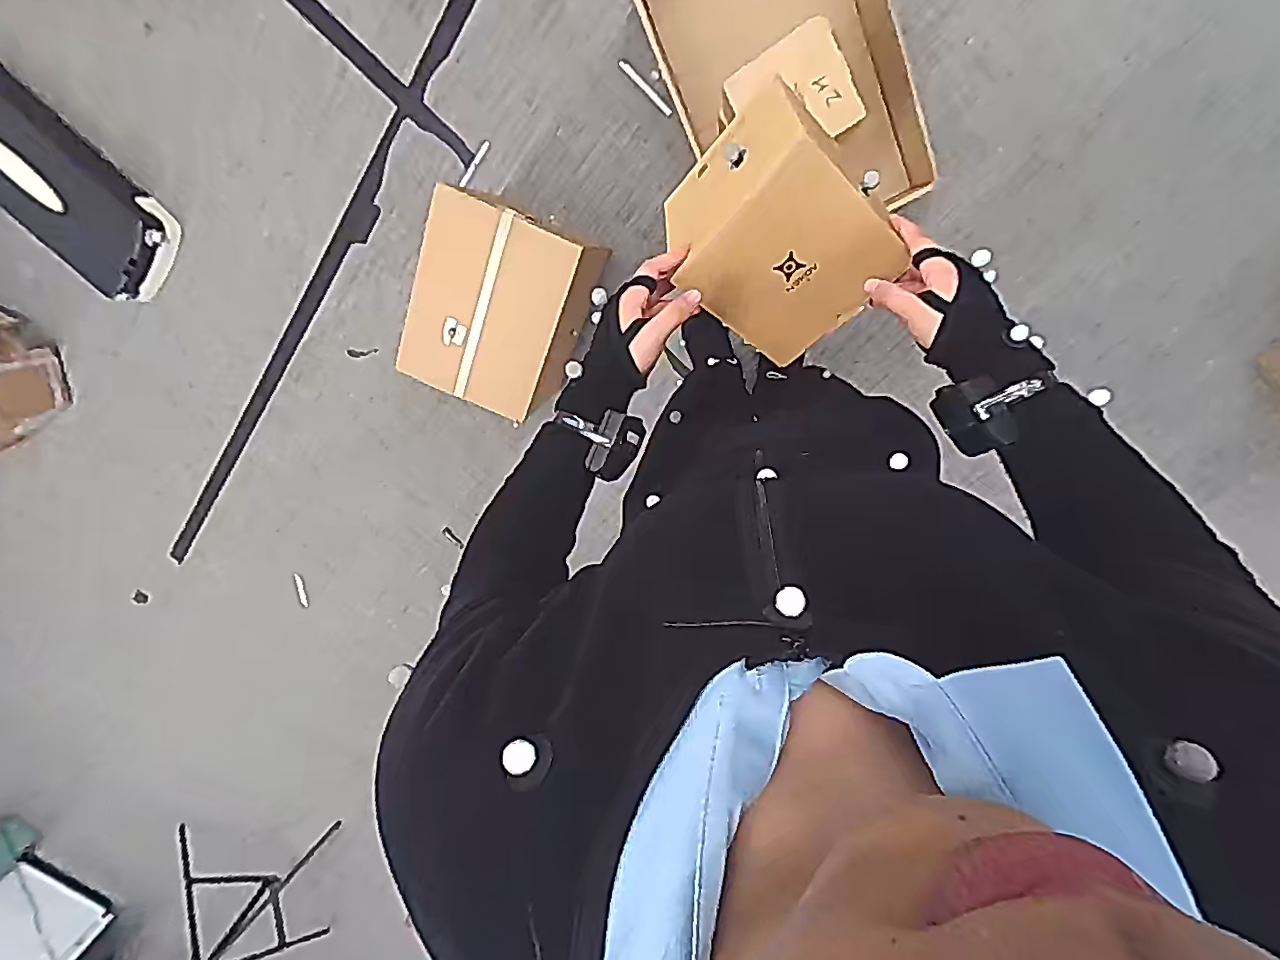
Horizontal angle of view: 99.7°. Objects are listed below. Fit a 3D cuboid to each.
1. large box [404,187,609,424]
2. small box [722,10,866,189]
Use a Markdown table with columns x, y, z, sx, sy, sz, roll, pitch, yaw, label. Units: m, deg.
| x | y | z | sx | sy | sz | roll | pitch | yaw | label |
| --- | --- | --- | --- | --- | --- | --- | --- | --- | --- |
| -0.299 | -0.408 | 1.263 | 0.320 | 0.320 | 0.408 | 24 | 115 | -1 | large box |
| 0.256 | -0.629 | 0.926 | 0.179 | 0.176 | 0.168 | -27 | 104 | 17 | small box |
